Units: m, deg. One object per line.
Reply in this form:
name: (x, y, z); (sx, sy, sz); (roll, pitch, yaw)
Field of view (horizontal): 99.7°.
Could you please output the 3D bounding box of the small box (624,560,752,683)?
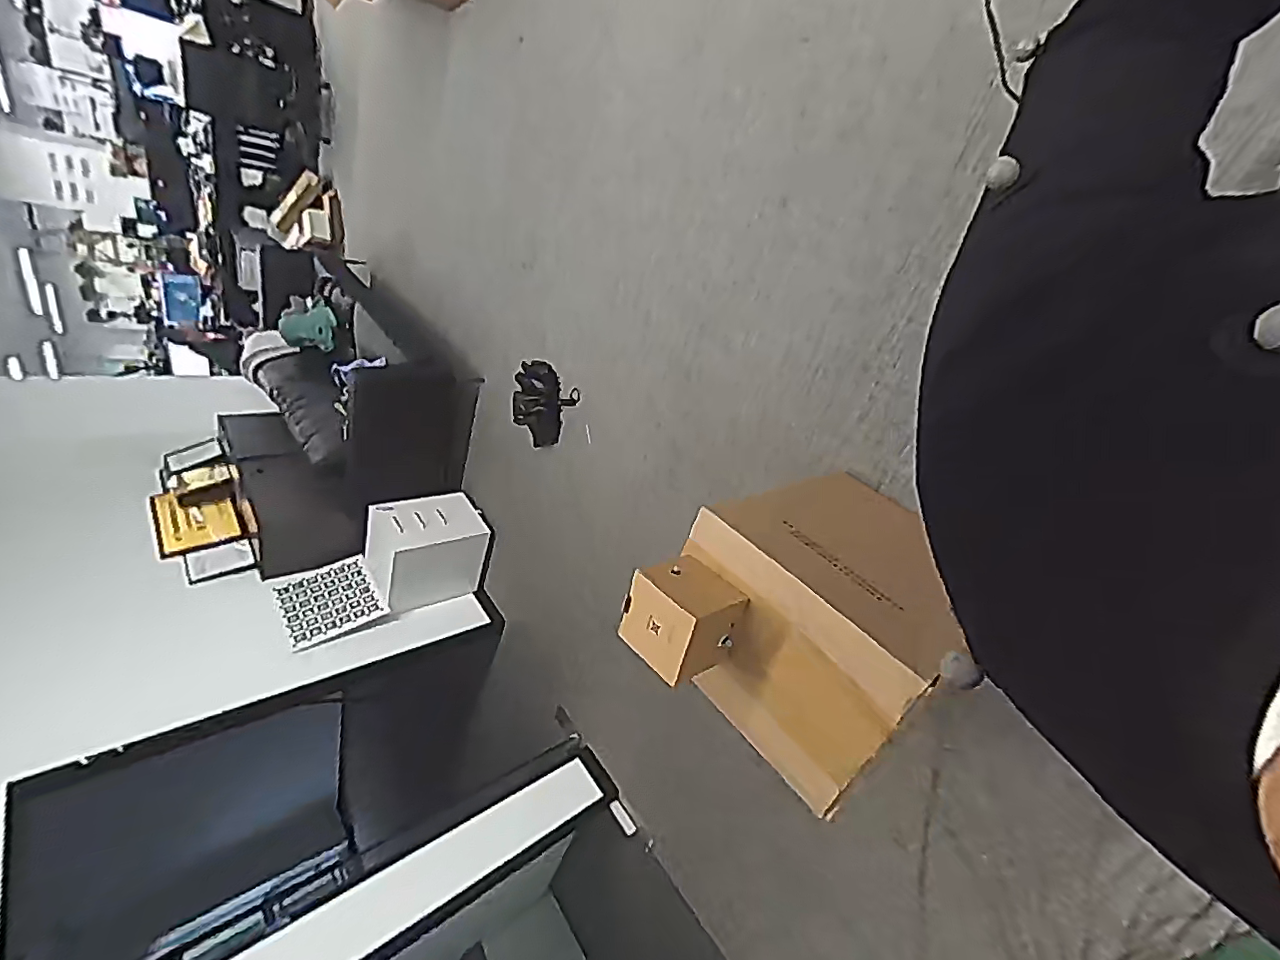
small box: (0.098, 0.280, 1.120); (0.179, 0.176, 0.168); (32, 117, 39)
